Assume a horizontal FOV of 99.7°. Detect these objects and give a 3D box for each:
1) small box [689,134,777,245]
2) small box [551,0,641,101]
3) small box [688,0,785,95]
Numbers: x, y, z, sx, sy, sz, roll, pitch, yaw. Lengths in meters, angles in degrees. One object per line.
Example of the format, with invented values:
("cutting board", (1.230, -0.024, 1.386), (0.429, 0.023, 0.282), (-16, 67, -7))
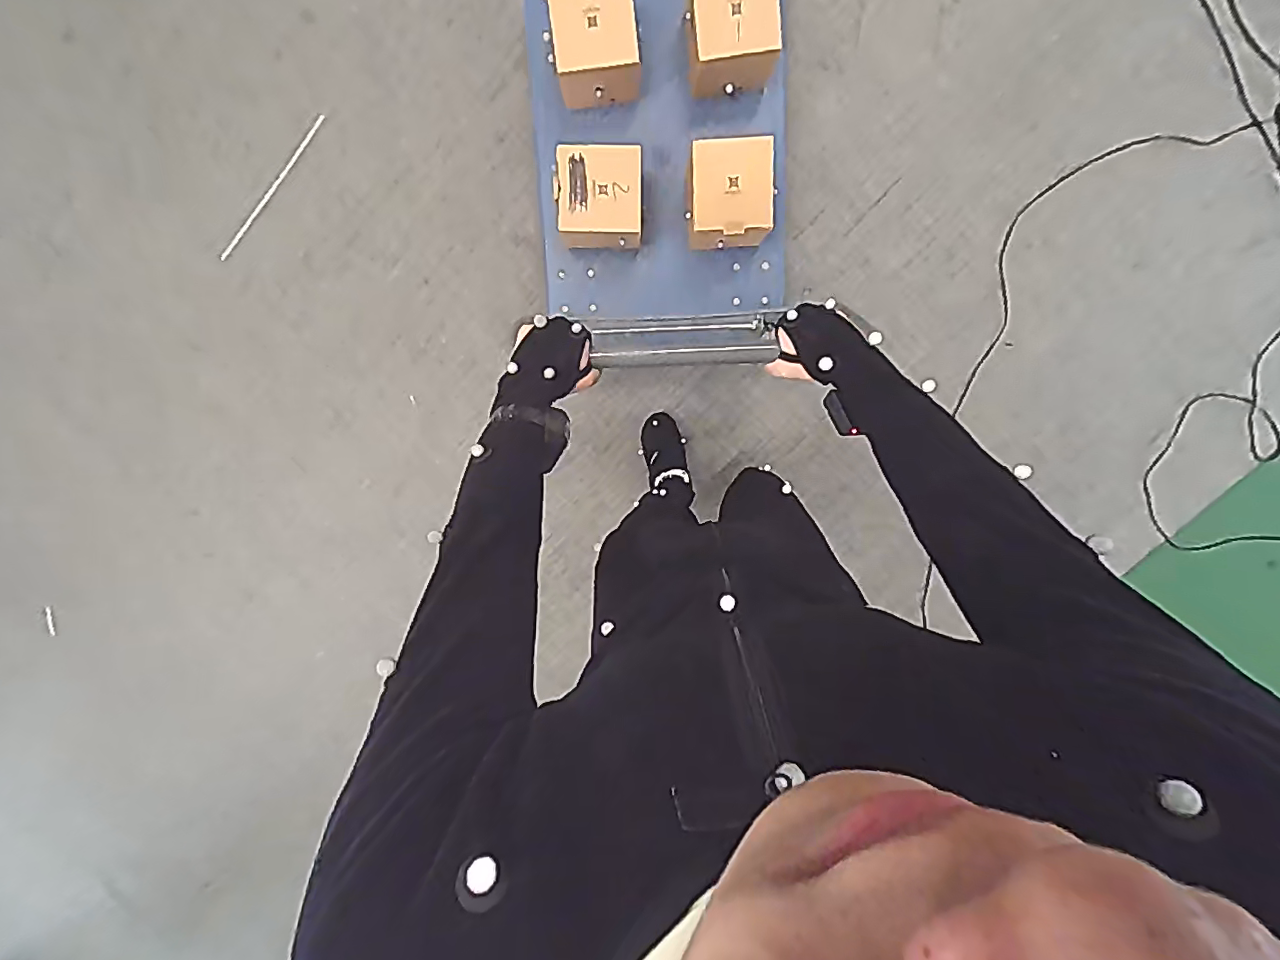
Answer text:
("small box", (0.196, -0.625, 1.181), (0.168, 0.176, 0.179), (-3, 103, 1))
("small box", (-0.087, -0.913, 1.114), (0.168, 0.176, 0.179), (-6, 103, 1))
("small box", (0.192, -0.933, 1.109), (0.168, 0.176, 0.179), (-6, 104, 2))
